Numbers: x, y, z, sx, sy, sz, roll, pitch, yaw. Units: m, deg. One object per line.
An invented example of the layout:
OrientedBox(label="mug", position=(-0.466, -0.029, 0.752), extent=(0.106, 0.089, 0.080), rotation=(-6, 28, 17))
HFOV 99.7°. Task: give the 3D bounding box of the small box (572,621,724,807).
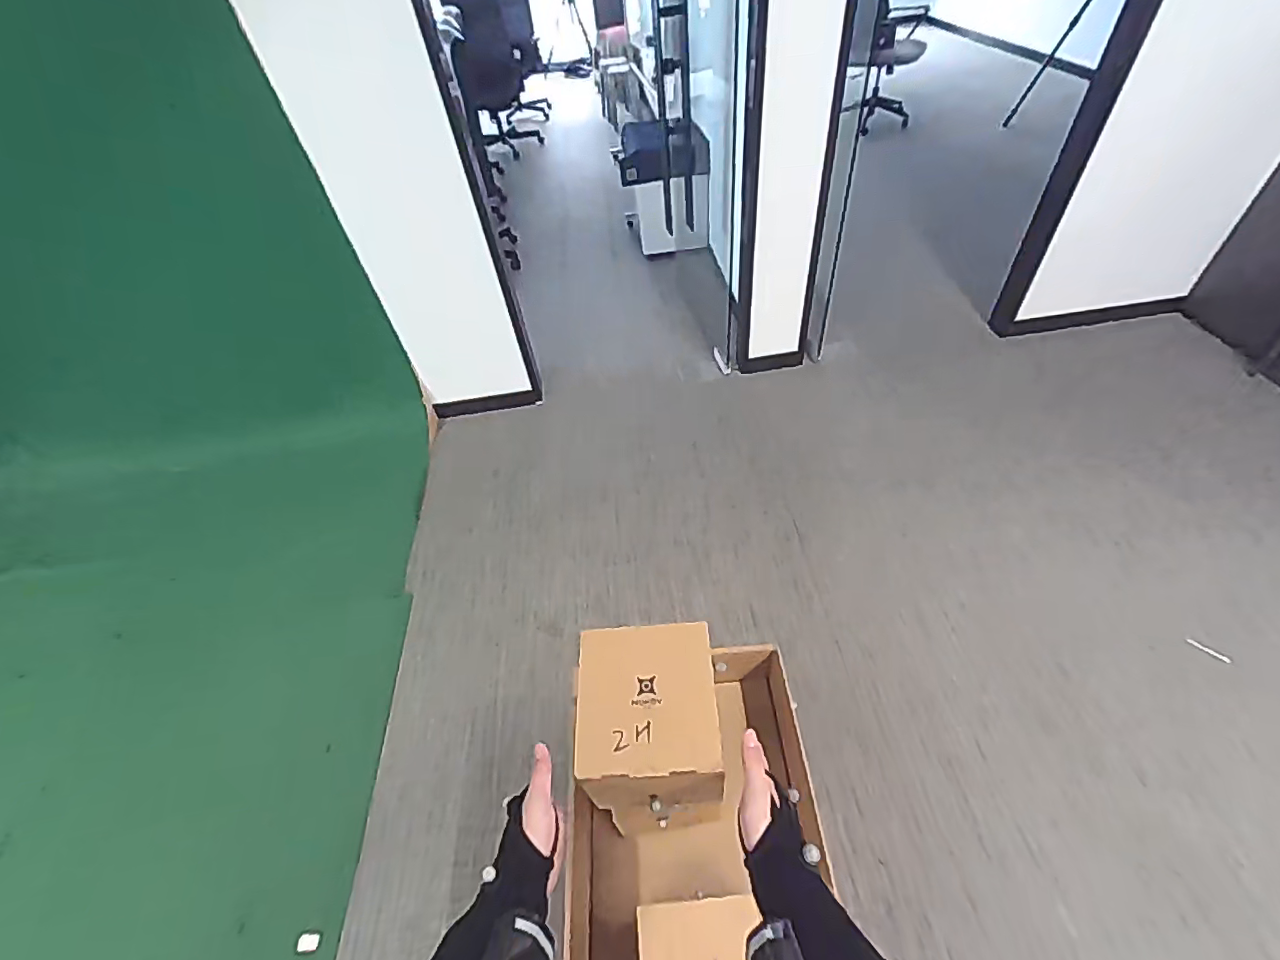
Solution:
OrientedBox(label="small box", position=(0.015, 0.302, 0.693), extent=(0.168, 0.176, 0.179), rotation=(-5, 49, 4))
